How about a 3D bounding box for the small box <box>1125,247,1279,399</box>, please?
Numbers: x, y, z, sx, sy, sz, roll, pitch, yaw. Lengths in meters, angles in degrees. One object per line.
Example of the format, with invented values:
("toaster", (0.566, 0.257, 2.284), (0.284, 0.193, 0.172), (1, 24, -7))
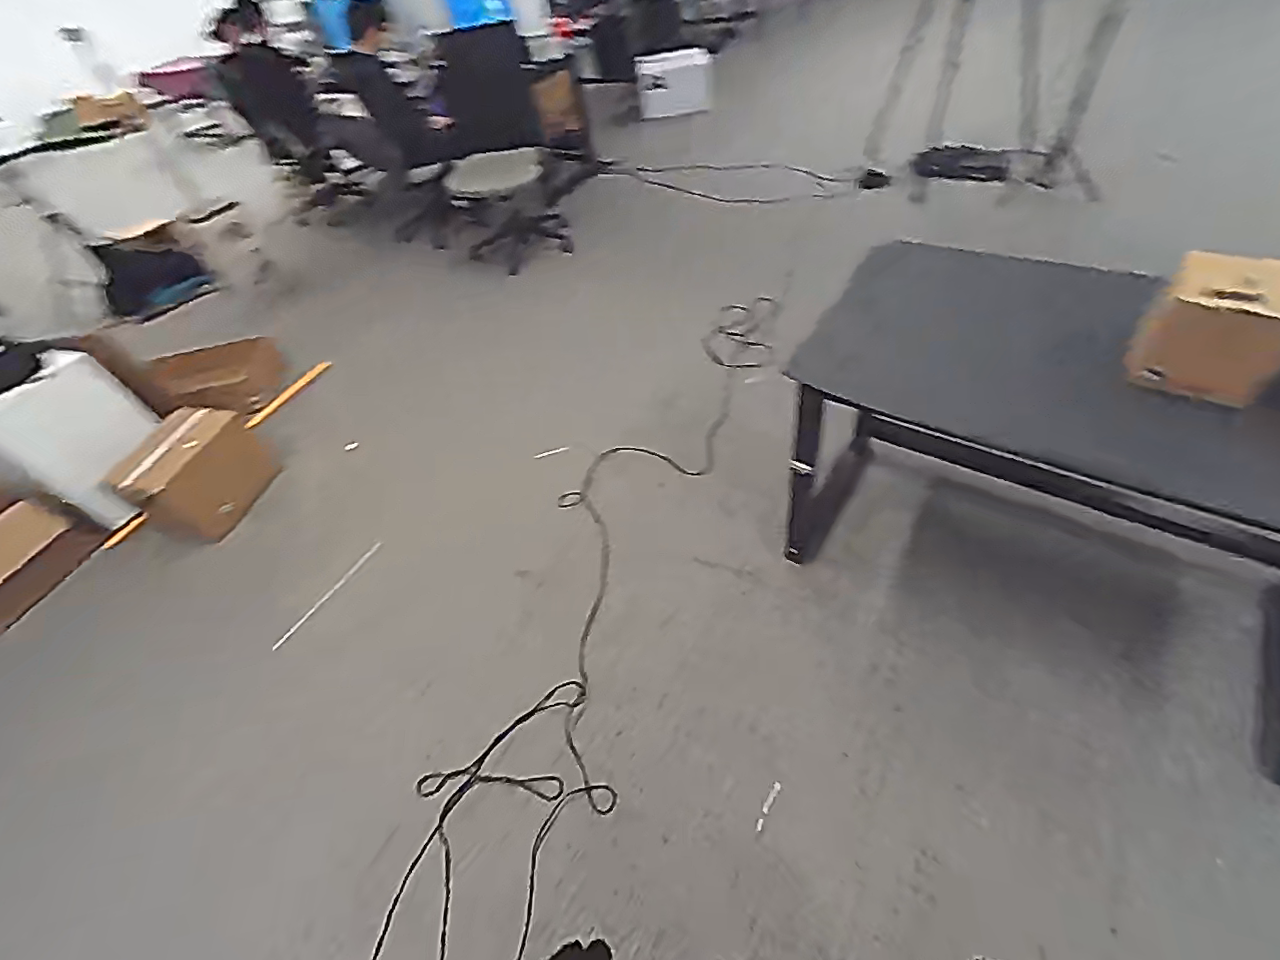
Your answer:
("small box", (0.972, -0.264, 0.917), (0.168, 0.176, 0.179), (25, 57, 29))
